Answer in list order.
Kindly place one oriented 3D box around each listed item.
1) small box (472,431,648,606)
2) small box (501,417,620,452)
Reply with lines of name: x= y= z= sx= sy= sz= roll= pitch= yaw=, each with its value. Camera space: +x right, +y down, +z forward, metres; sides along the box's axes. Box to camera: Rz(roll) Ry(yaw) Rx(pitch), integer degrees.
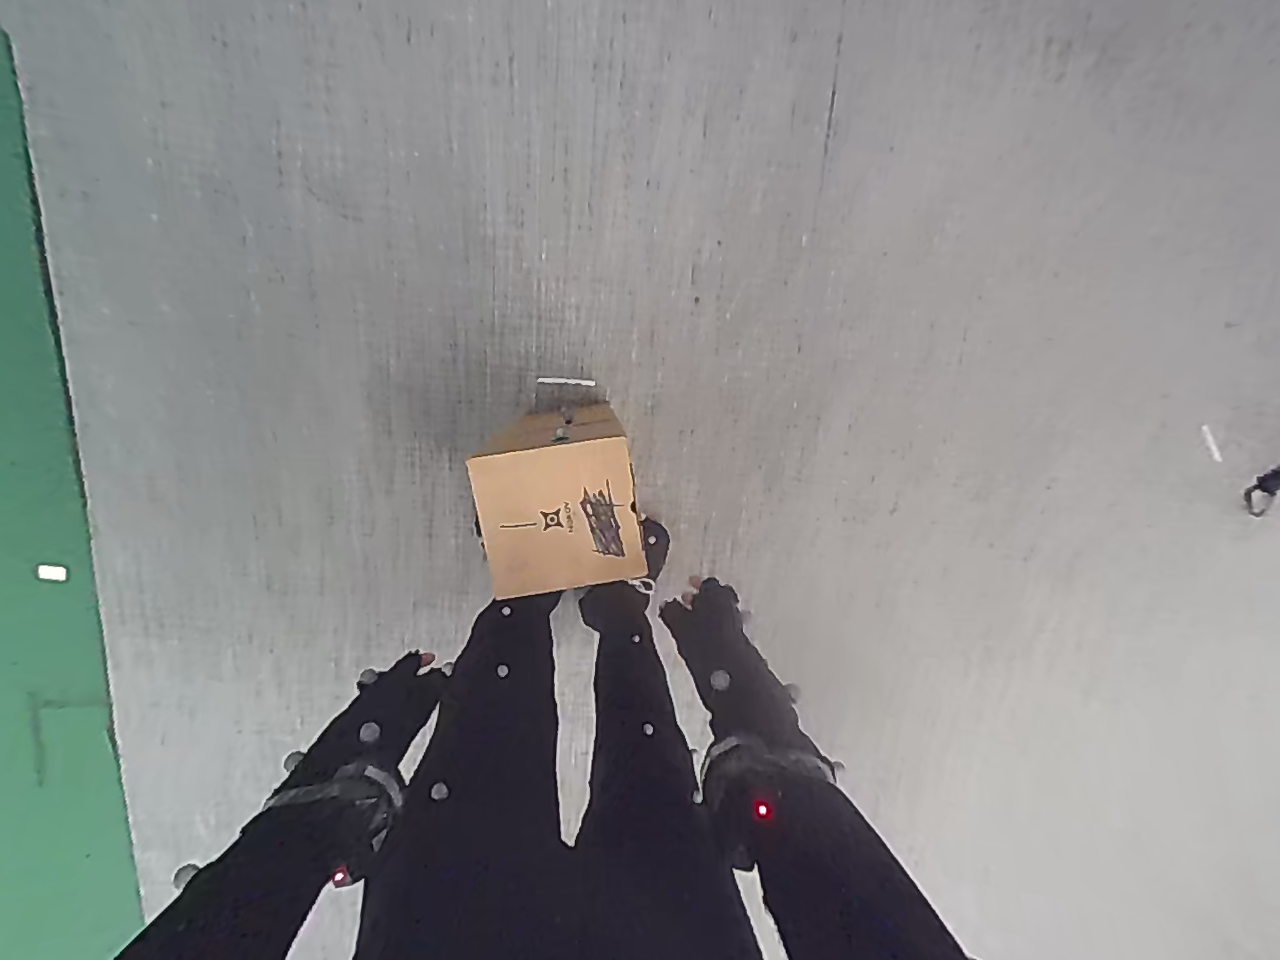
small box: x=-0.092 y=0.036 z=0.677 sx=0.179 sy=0.176 sz=0.168 roll=-8 pitch=102 yaw=-2
small box: x=-0.106 y=0.004 z=0.841 sx=0.179 sy=0.176 sz=0.168 roll=-11 pitch=104 yaw=-1
